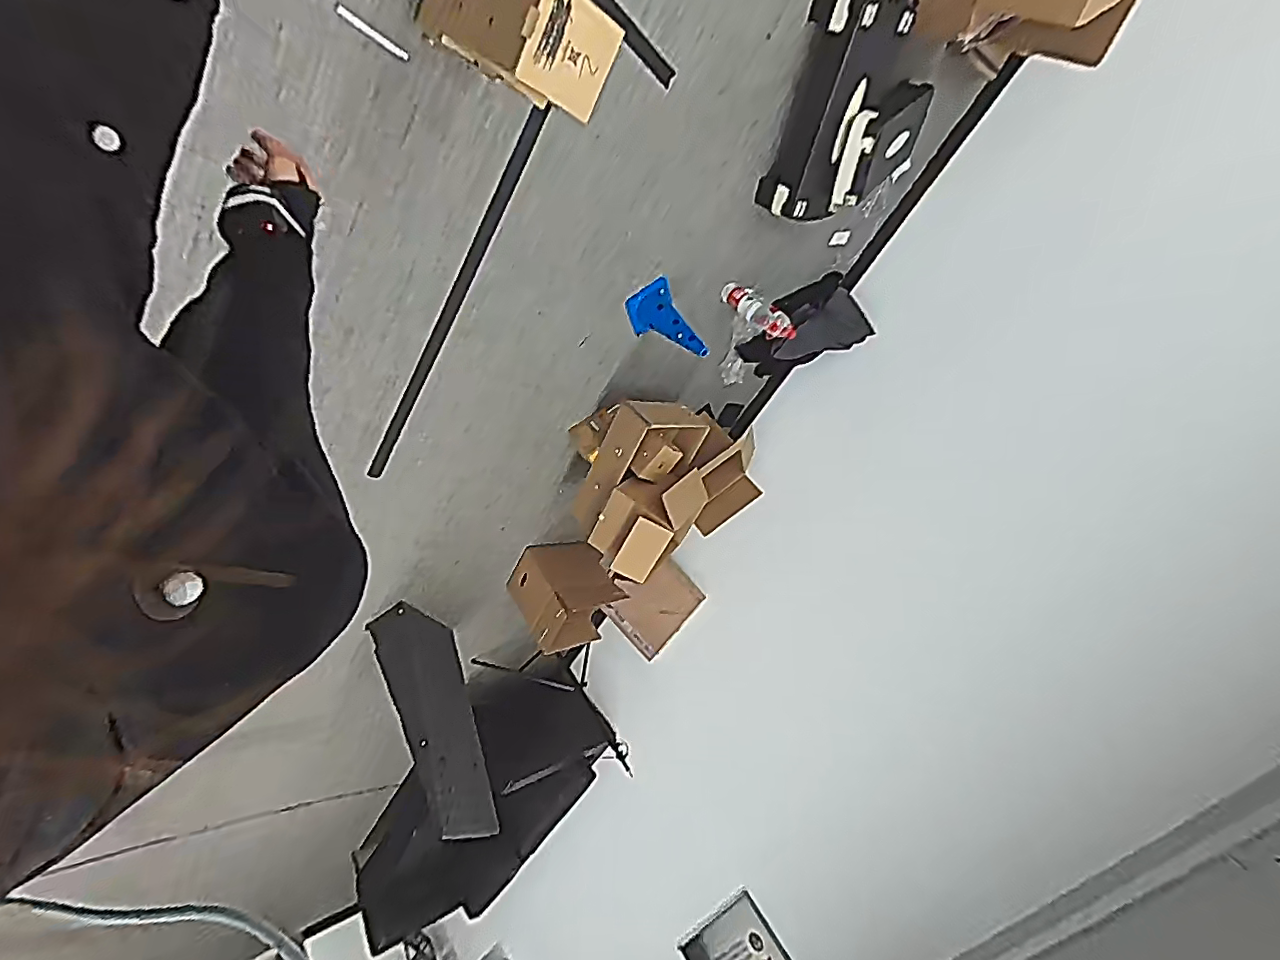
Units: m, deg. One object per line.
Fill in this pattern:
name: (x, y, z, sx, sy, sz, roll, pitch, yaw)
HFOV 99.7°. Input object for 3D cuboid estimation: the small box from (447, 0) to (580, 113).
small box: (-0.264, -0.915, 1.116, 0.179, 0.176, 0.168, 10, 123, -51)

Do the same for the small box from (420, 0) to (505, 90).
small box: (-0.364, -1.018, 1.193, 0.168, 0.176, 0.179, 4, 126, -49)
